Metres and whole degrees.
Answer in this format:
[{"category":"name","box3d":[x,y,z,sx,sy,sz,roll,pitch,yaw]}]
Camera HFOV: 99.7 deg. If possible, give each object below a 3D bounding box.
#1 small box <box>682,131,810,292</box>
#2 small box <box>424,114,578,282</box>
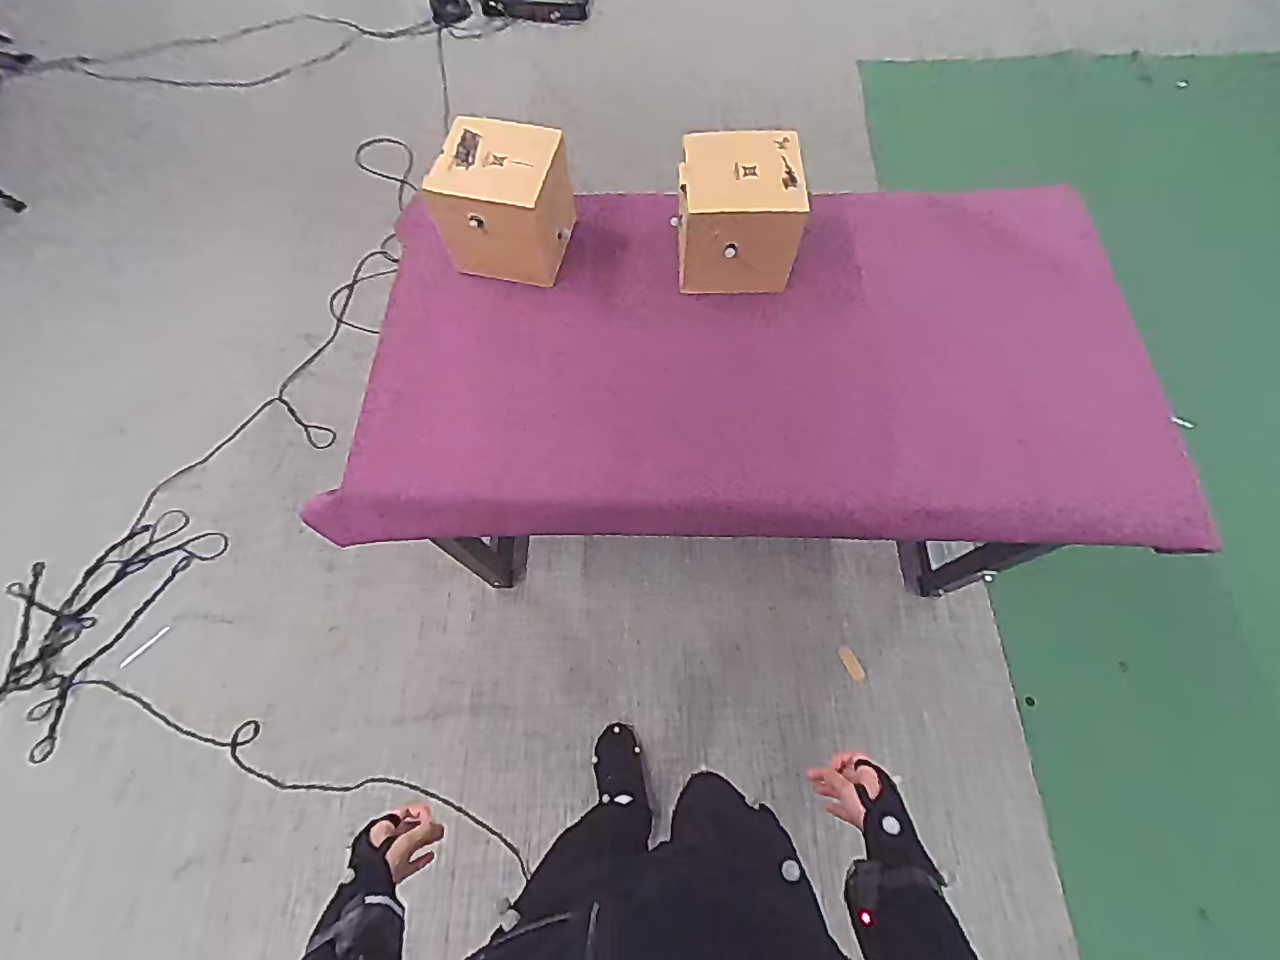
[{"category":"small box","box3d":[0.156,-0.418,0.860,0.179,0.176,0.168,0,69,2]},{"category":"small box","box3d":[-0.212,-0.449,0.877,0.179,0.176,0.168,12,69,5]}]
